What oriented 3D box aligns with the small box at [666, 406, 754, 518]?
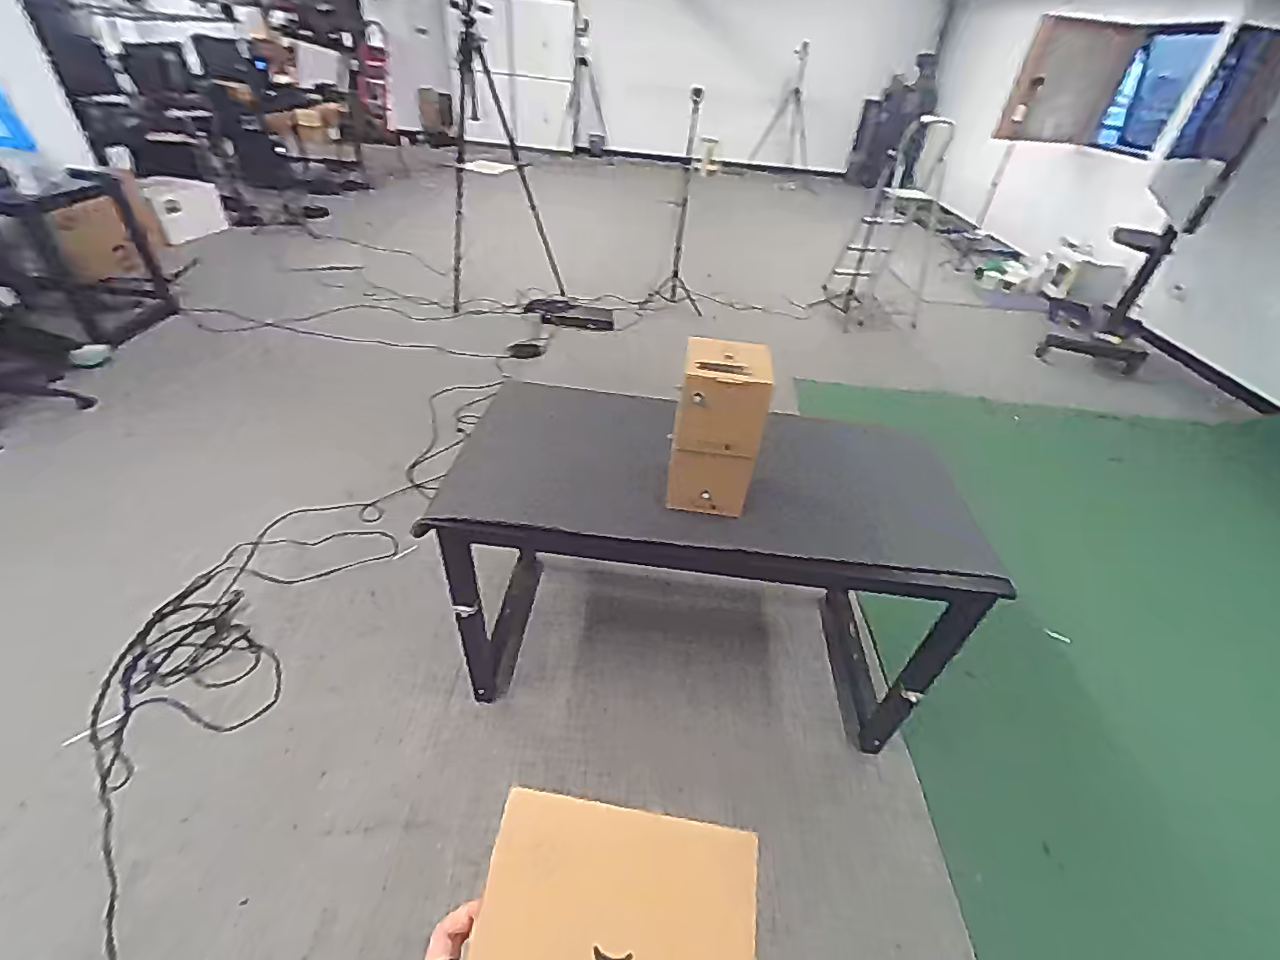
[{"bbox_3d":[0.152,-0.041,1.199,0.168,0.176,0.179,7,37,2],"label":"small box"}]
